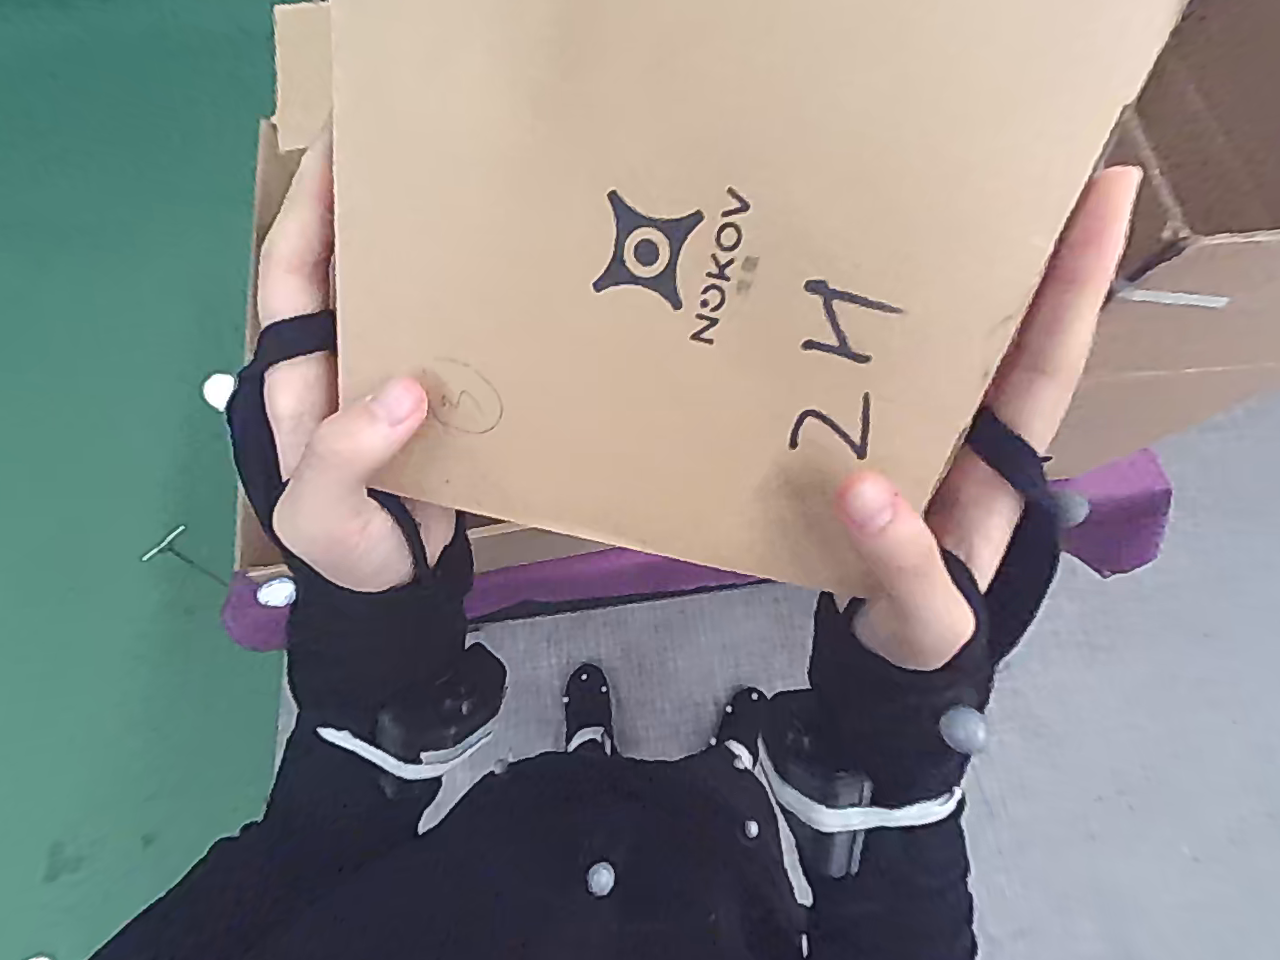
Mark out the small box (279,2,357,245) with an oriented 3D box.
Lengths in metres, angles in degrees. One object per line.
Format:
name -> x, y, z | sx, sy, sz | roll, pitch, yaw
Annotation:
small box -> -0.226, -0.331, 0.541 | 0.168, 0.176, 0.179 | -12, 73, -3

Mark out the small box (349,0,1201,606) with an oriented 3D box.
small box -> 0.018, -0.084, 0.211 | 0.179, 0.176, 0.168 | 14, 116, -2
